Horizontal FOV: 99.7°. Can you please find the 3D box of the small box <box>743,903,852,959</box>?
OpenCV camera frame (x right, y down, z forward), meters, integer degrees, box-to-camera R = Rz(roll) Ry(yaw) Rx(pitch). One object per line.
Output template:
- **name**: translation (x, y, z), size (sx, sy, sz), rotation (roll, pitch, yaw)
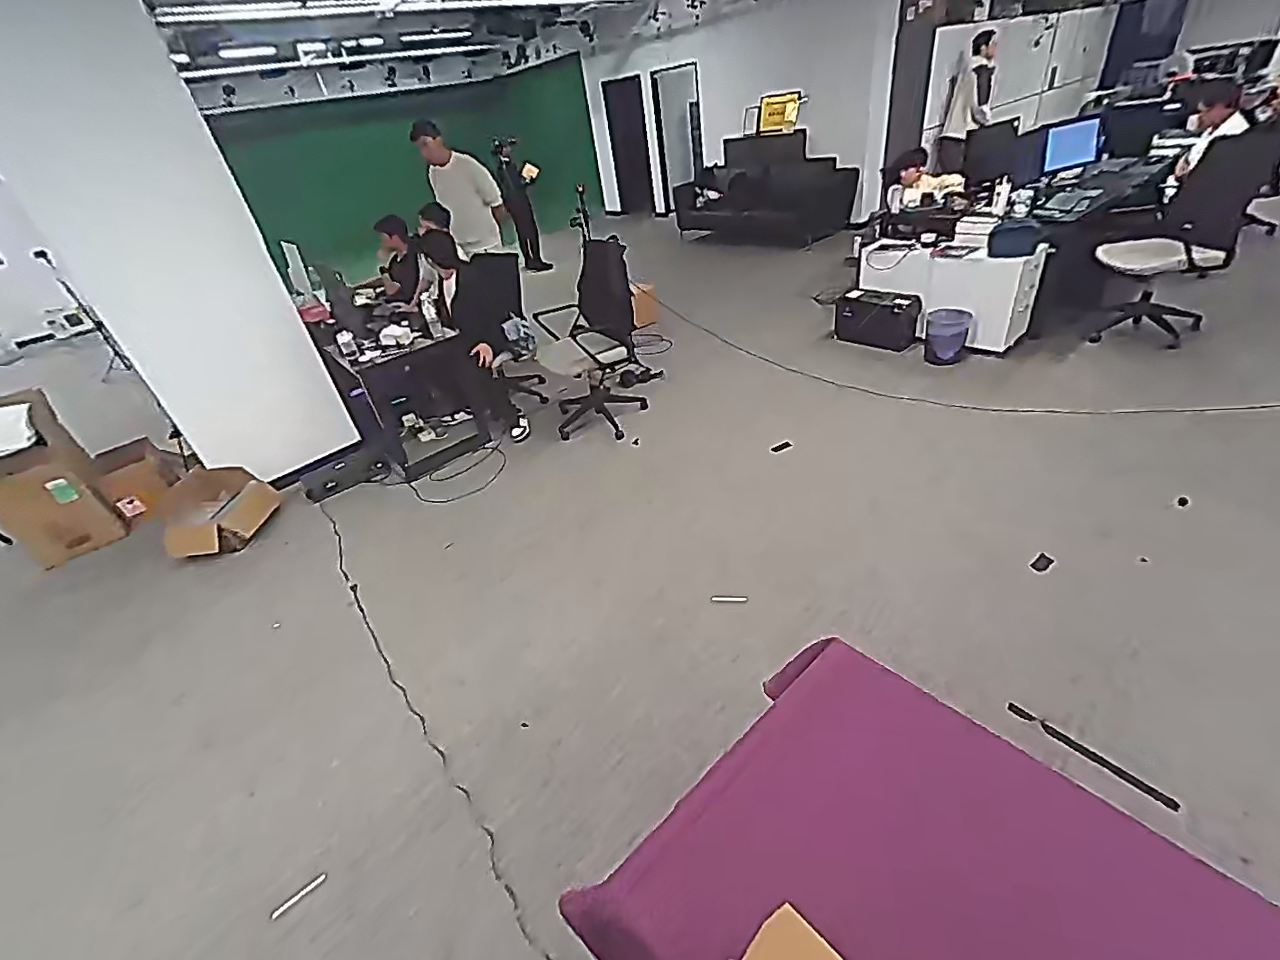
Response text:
- **small box**: translation (0.159, 0.581, 0.541), size (0.168, 0.176, 0.179), rotation (34, 55, 31)
